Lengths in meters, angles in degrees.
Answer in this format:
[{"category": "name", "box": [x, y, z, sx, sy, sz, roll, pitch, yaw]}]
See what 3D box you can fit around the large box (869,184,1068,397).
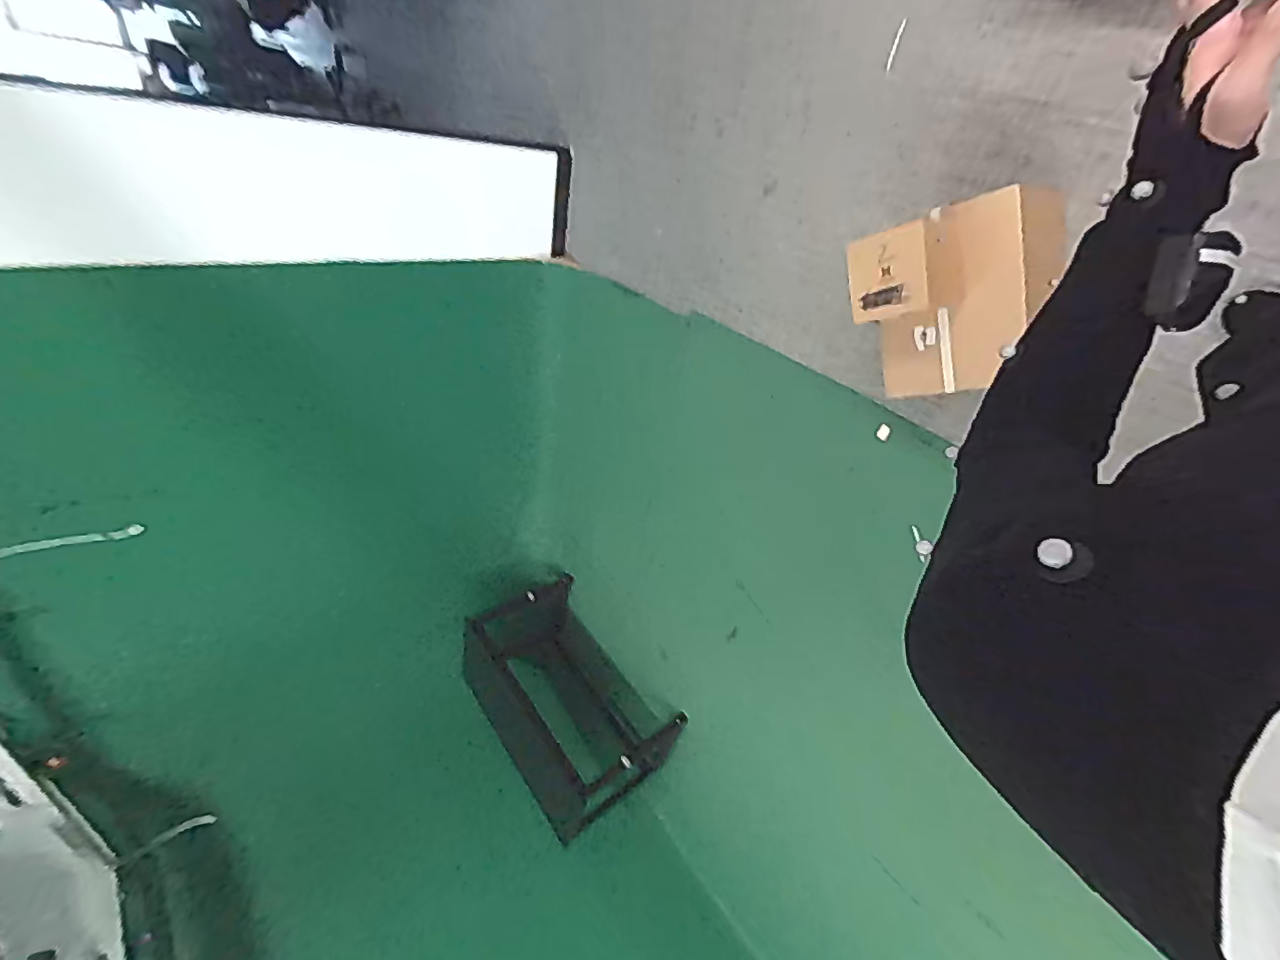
[{"category": "large box", "box": [0.803, -0.443, 1.314, 0.320, 0.320, 0.408, 1, 107, 51]}]
